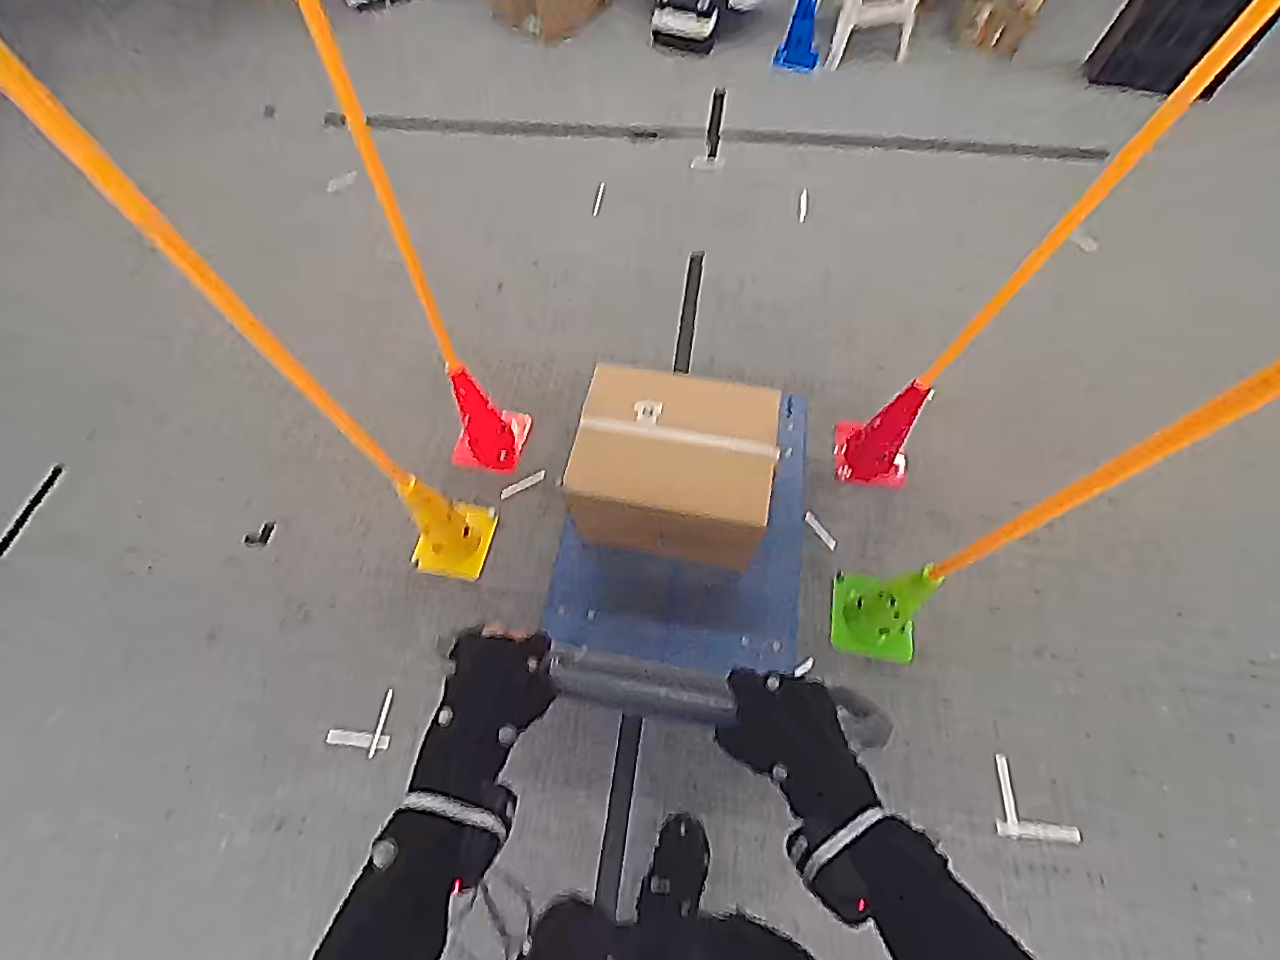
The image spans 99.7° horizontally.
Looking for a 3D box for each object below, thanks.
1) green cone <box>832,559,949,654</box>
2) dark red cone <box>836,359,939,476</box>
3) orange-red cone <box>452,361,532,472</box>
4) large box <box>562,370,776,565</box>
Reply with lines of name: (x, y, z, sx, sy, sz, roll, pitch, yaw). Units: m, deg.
green cone: (0.595, 0.258, 1.239, 0.202, 0.368, 0.200, 10, 64, 6)
dark red cone: (0.677, -0.180, 1.433, 0.201, 0.394, 0.202, 7, 64, 3)
orange-red cone: (-0.454, -0.205, 1.512, 0.198, 0.360, 0.199, 13, 64, 7)
large box: (0.076, -0.017, 1.237, 0.408, 0.320, 0.320, 9, 65, 7)
